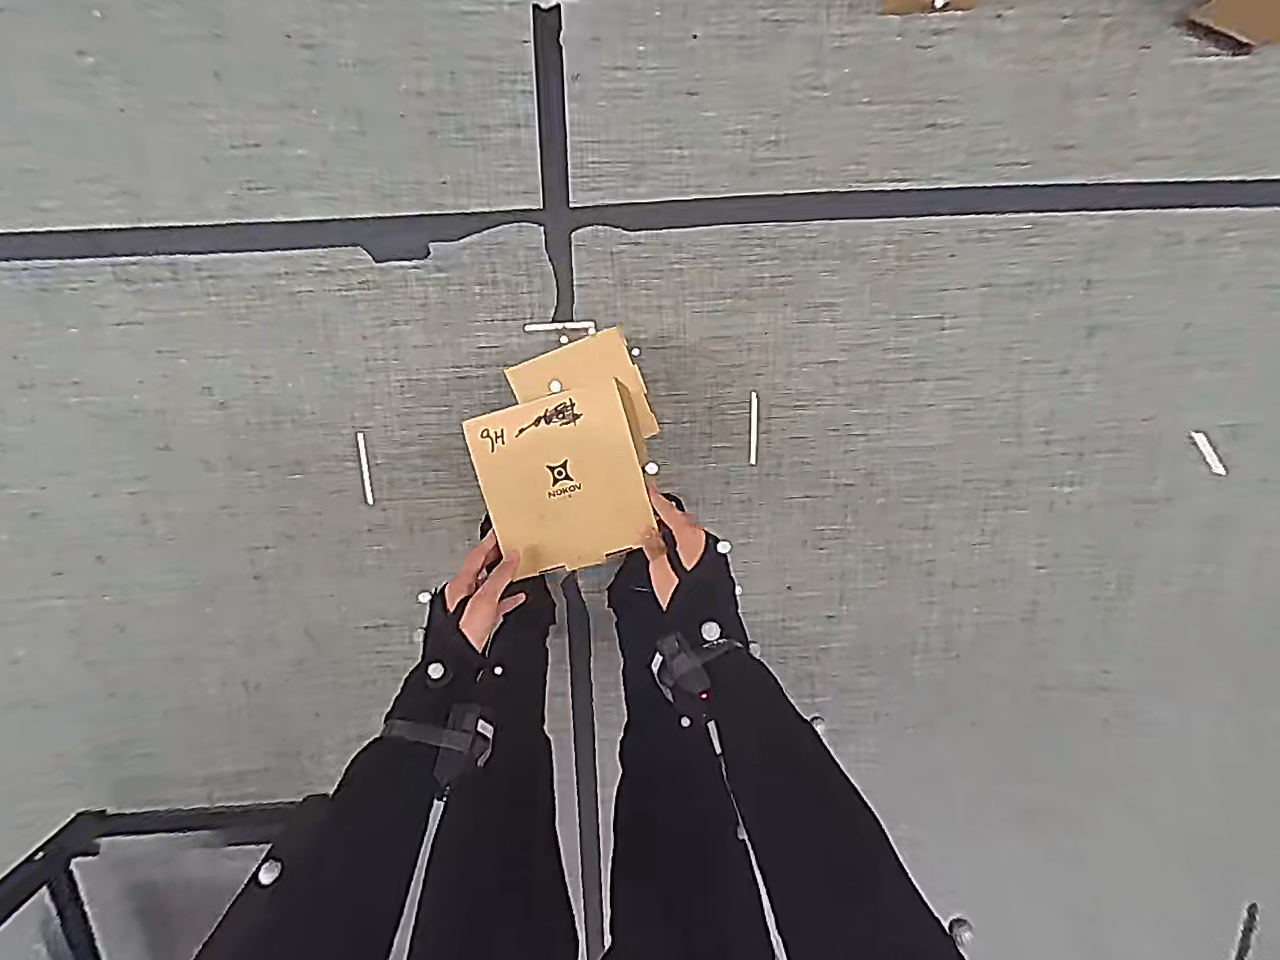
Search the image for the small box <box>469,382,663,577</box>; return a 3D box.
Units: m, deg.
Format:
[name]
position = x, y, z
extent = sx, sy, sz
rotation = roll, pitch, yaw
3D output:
[small box]
position = -0.071, -0.009, 0.637
extent = 0.168, 0.176, 0.179
rotation = -15, 96, 5
